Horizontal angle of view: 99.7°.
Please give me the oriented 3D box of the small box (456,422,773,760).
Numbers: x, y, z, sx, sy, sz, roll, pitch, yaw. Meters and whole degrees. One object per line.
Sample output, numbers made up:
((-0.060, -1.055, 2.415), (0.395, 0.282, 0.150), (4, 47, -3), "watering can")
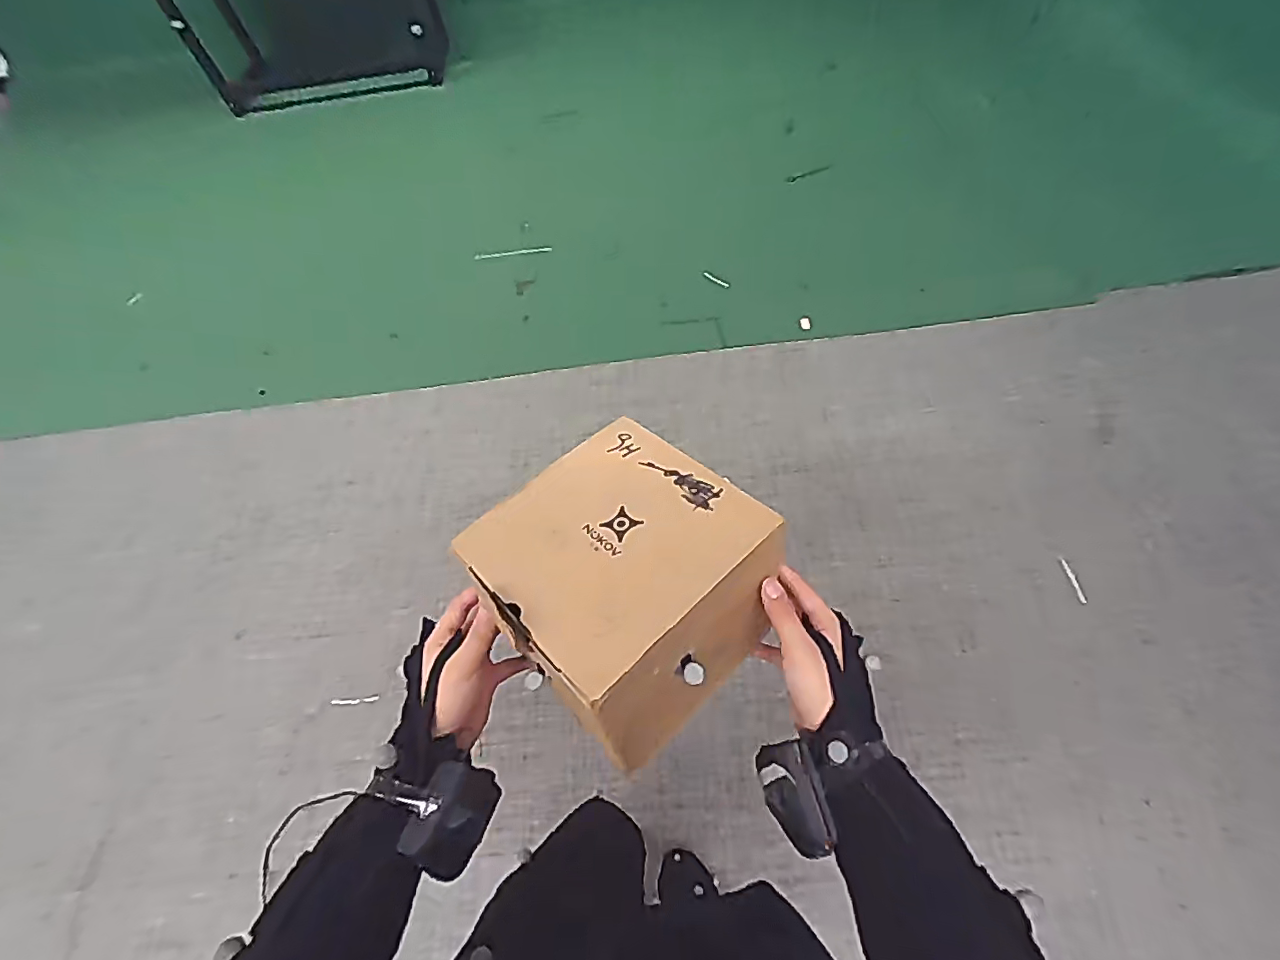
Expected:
((-0.010, 0.091, 0.444), (0.179, 0.176, 0.168), (-39, 54, -23), "small box")
